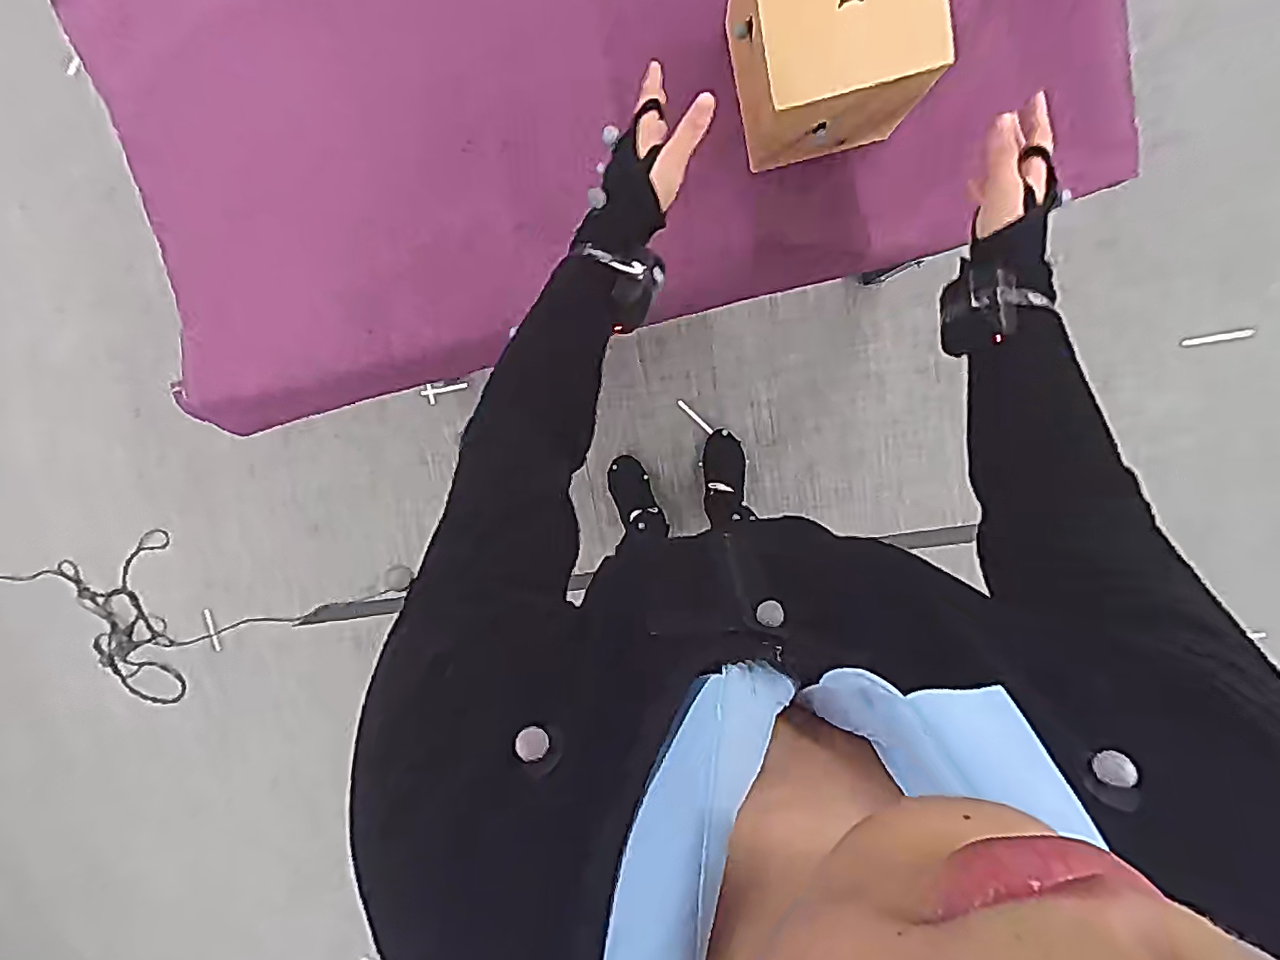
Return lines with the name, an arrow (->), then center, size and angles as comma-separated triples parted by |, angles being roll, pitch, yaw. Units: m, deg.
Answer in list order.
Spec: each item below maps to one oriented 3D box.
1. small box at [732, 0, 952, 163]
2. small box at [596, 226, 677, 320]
small box -> 0.196, -0.461, 0.568 | 0.168, 0.176, 0.179 | -11, 99, 7
small box -> -0.002, -0.495, 1.320 | 0.168, 0.176, 0.179 | -9, 99, 5
